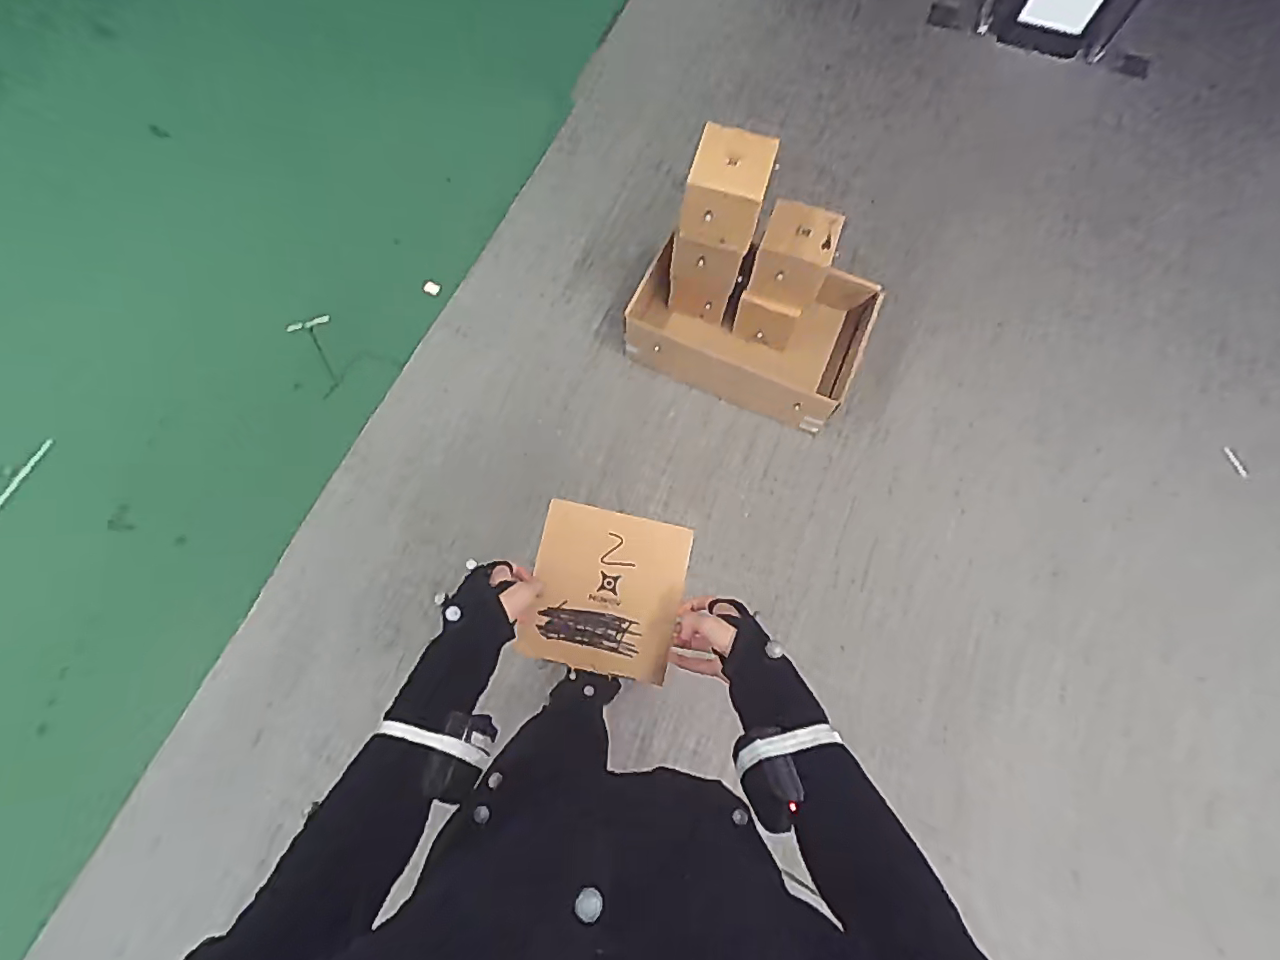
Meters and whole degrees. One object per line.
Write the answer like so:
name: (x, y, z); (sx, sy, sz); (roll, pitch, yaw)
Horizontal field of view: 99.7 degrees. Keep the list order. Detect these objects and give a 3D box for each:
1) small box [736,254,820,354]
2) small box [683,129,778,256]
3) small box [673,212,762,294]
small box: (0.380, -0.488, 1.517); (0.168, 0.176, 0.179); (23, 73, 10)
small box: (0.198, -0.643, 1.227); (0.168, 0.176, 0.179); (16, 73, 5)
small box: (0.194, -0.607, 1.386); (0.179, 0.176, 0.168); (20, 73, 7)
